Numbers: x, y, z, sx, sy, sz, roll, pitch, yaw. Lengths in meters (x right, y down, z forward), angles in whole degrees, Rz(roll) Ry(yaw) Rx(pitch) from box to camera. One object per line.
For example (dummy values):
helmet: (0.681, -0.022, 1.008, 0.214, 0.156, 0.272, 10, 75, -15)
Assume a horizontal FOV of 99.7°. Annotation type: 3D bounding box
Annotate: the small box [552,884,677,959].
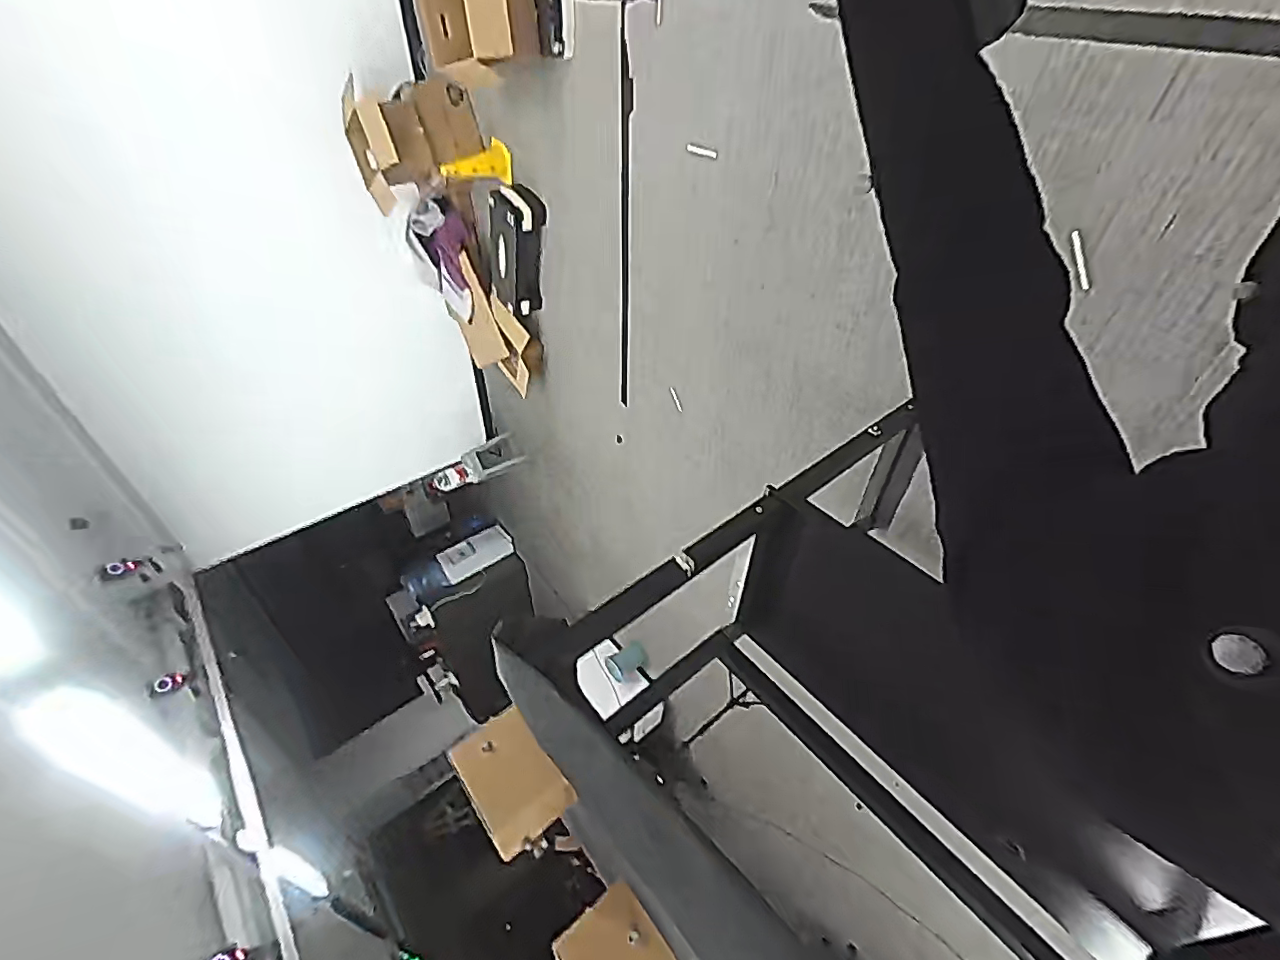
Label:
small box: (-0.048, 0.919, 1.035, 0.179, 0.176, 0.168, 40, 144, 35)
